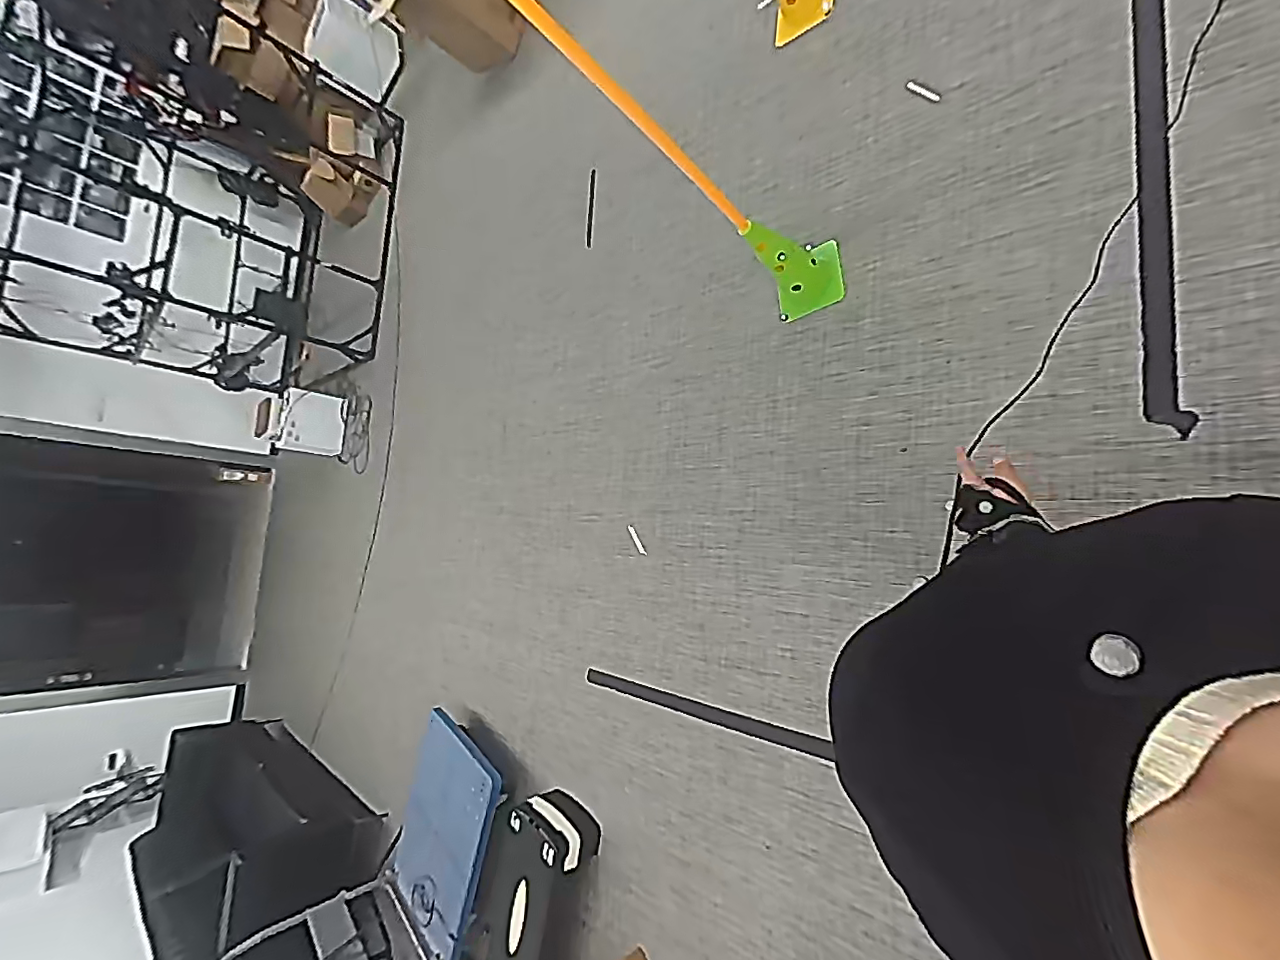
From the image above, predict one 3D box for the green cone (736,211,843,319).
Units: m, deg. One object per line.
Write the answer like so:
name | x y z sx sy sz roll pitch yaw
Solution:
green cone | 0.385 -0.629 1.492 0.200 0.368 0.202 -16 69 41
